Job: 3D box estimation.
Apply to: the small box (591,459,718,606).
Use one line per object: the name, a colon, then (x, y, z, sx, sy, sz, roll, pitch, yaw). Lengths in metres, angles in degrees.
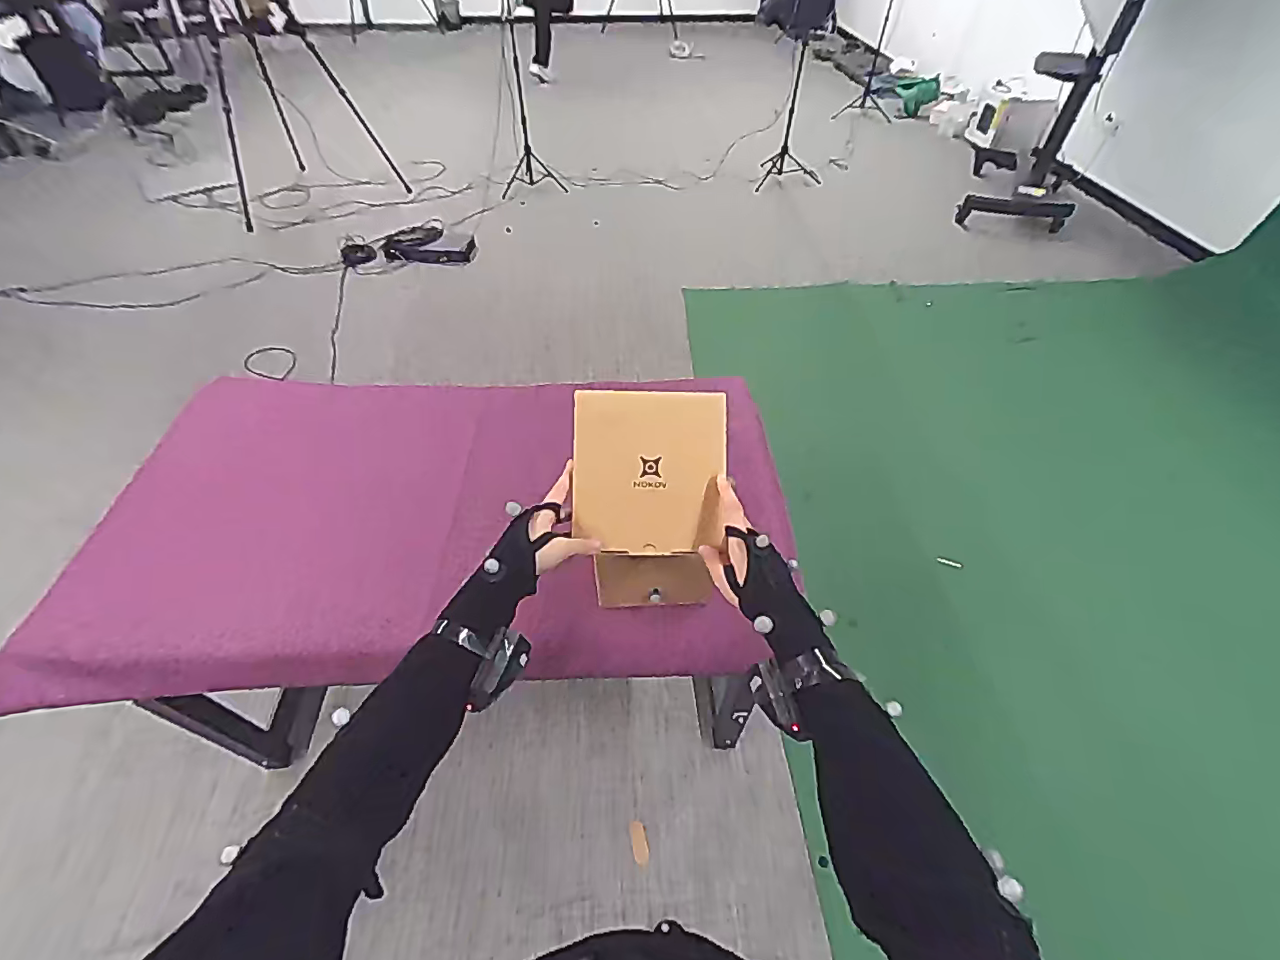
small box: (0.017, 0.084, 0.848, 0.179, 0.176, 0.168, -2, 46, -1)
